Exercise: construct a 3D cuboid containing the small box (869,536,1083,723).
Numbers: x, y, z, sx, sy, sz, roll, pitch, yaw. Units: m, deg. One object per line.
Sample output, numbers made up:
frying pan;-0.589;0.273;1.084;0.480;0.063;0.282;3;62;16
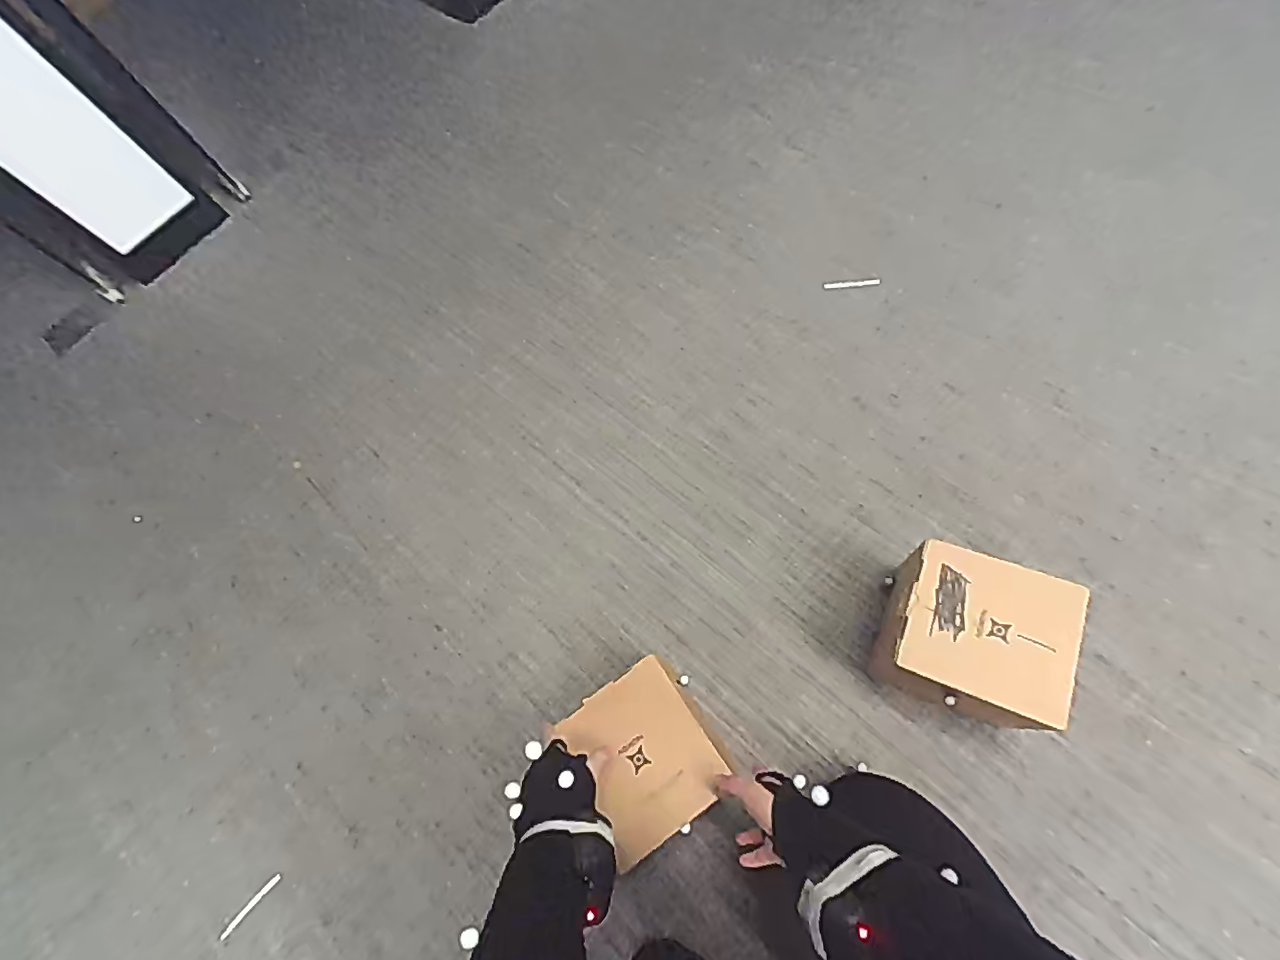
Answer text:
small box;0.414;0.196;0.695;0.179;0.176;0.168;19;72;18
